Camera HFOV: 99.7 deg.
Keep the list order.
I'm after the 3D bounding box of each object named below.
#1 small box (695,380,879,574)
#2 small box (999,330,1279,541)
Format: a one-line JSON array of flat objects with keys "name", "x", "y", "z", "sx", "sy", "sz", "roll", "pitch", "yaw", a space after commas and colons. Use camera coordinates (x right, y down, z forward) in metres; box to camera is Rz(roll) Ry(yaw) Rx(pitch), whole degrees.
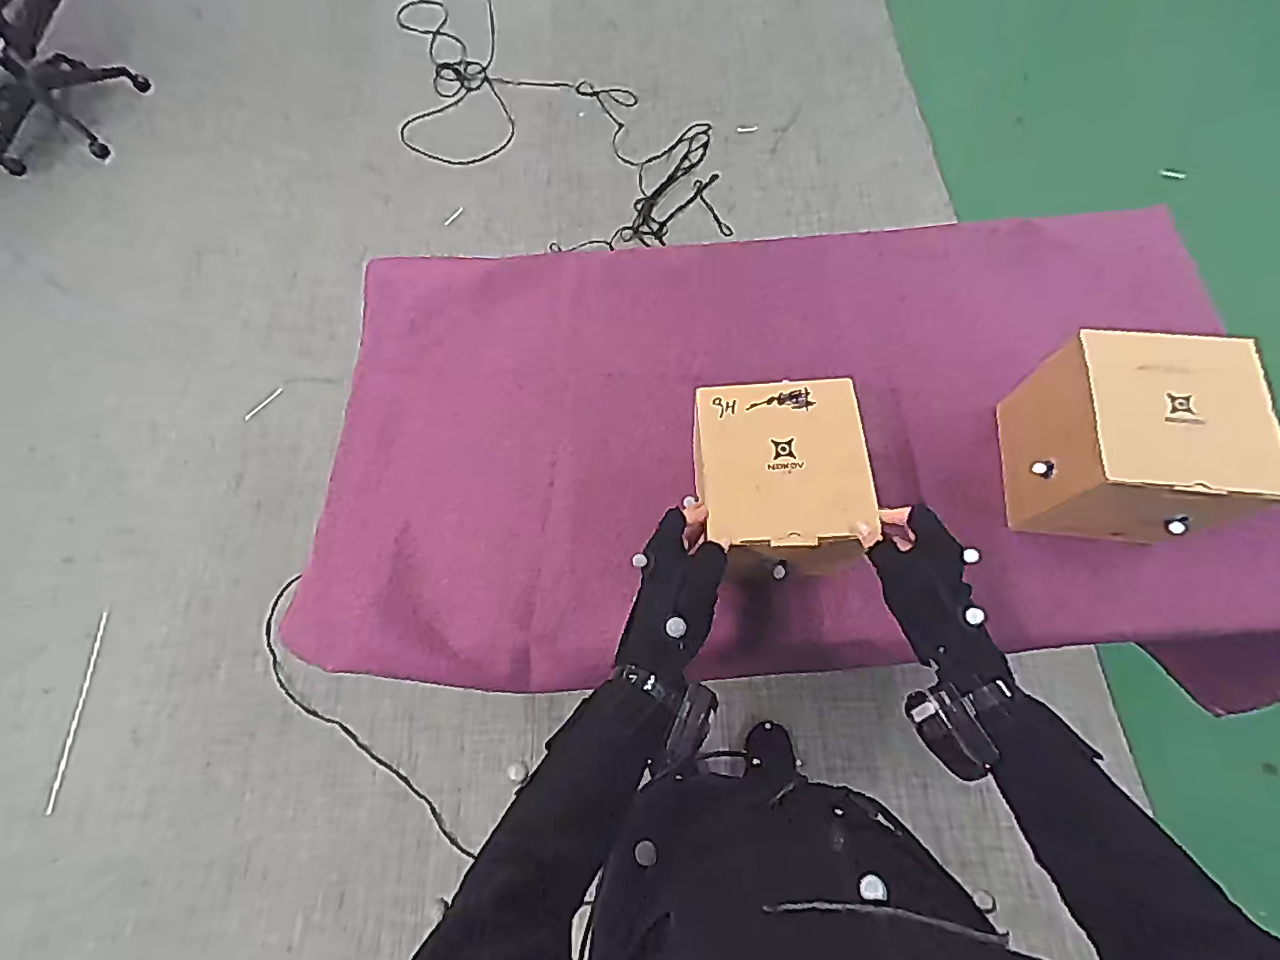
[{"name": "small box", "x": 0.150, "y": 0.008, "z": 0.616, "sx": 0.168, "sy": 0.176, "sz": 0.179, "roll": -3, "pitch": 69, "yaw": 3}, {"name": "small box", "x": 0.533, "y": -0.040, "z": 0.601, "sx": 0.168, "sy": 0.176, "sz": 0.179, "roll": 6, "pitch": 69, "yaw": 7}]
